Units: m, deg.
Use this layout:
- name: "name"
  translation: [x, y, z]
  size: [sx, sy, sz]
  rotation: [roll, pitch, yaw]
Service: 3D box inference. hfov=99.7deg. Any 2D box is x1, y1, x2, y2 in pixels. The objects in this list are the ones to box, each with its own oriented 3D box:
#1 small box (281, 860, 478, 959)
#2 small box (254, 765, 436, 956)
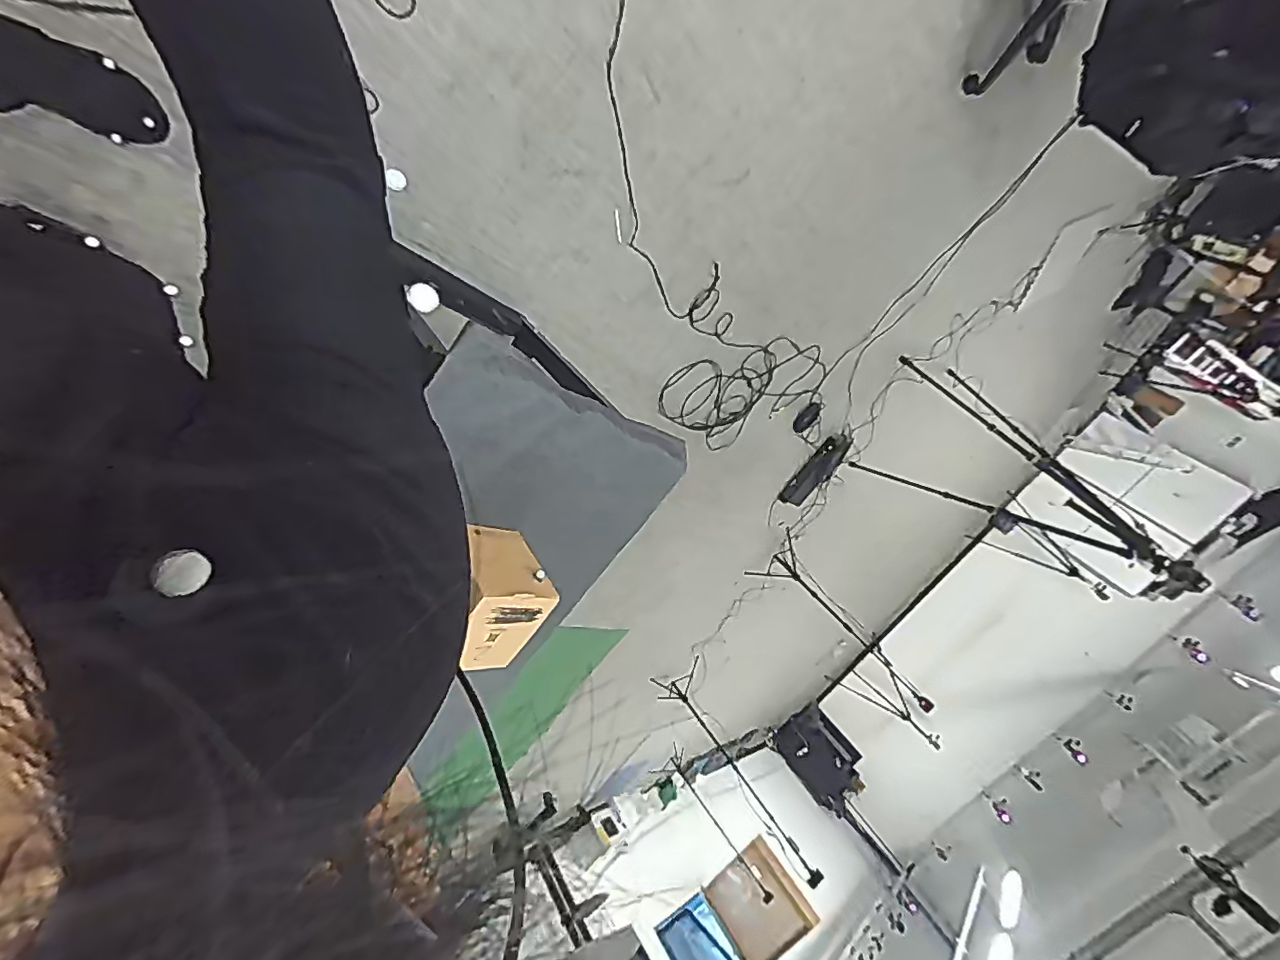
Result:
- name: "small box"
  translation: [-0.375, 0.683, 0.770]
  size: [0.179, 0.176, 0.168]
  rotation: [-49, 146, 6]
- name: "small box"
  translation: [-0.469, 0.582, 0.859]
  size: [0.168, 0.176, 0.179]
  rotation: [-50, 145, 8]
